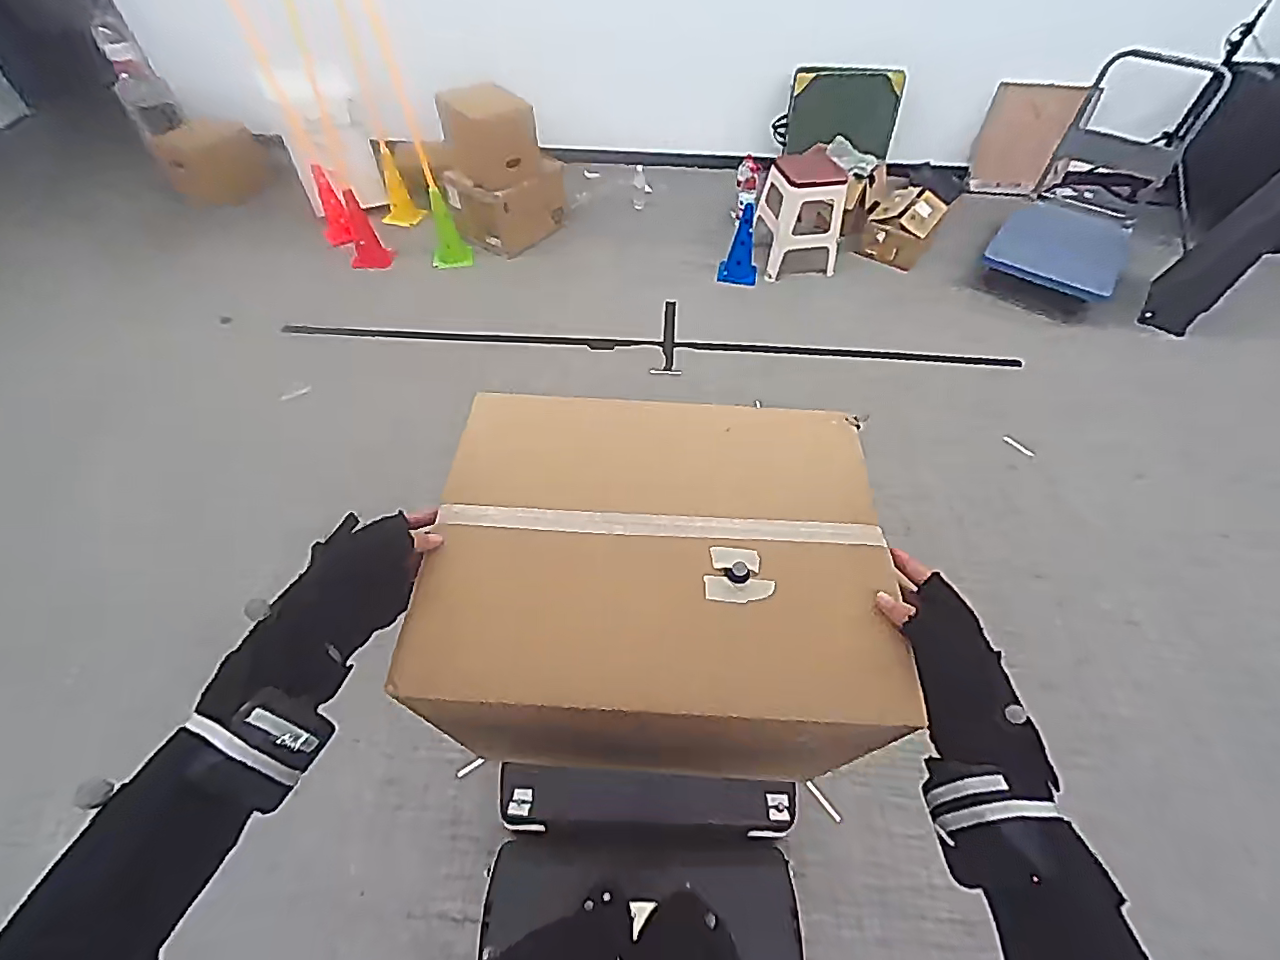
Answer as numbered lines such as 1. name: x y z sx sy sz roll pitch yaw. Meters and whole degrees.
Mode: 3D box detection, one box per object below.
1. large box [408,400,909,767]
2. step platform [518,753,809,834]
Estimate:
1. large box: 0.015 0.131 0.627 0.408 0.320 0.320 4 55 1
2. step platform: 0.053 0.680 1.320 0.684 0.204 0.286 2 52 -1
